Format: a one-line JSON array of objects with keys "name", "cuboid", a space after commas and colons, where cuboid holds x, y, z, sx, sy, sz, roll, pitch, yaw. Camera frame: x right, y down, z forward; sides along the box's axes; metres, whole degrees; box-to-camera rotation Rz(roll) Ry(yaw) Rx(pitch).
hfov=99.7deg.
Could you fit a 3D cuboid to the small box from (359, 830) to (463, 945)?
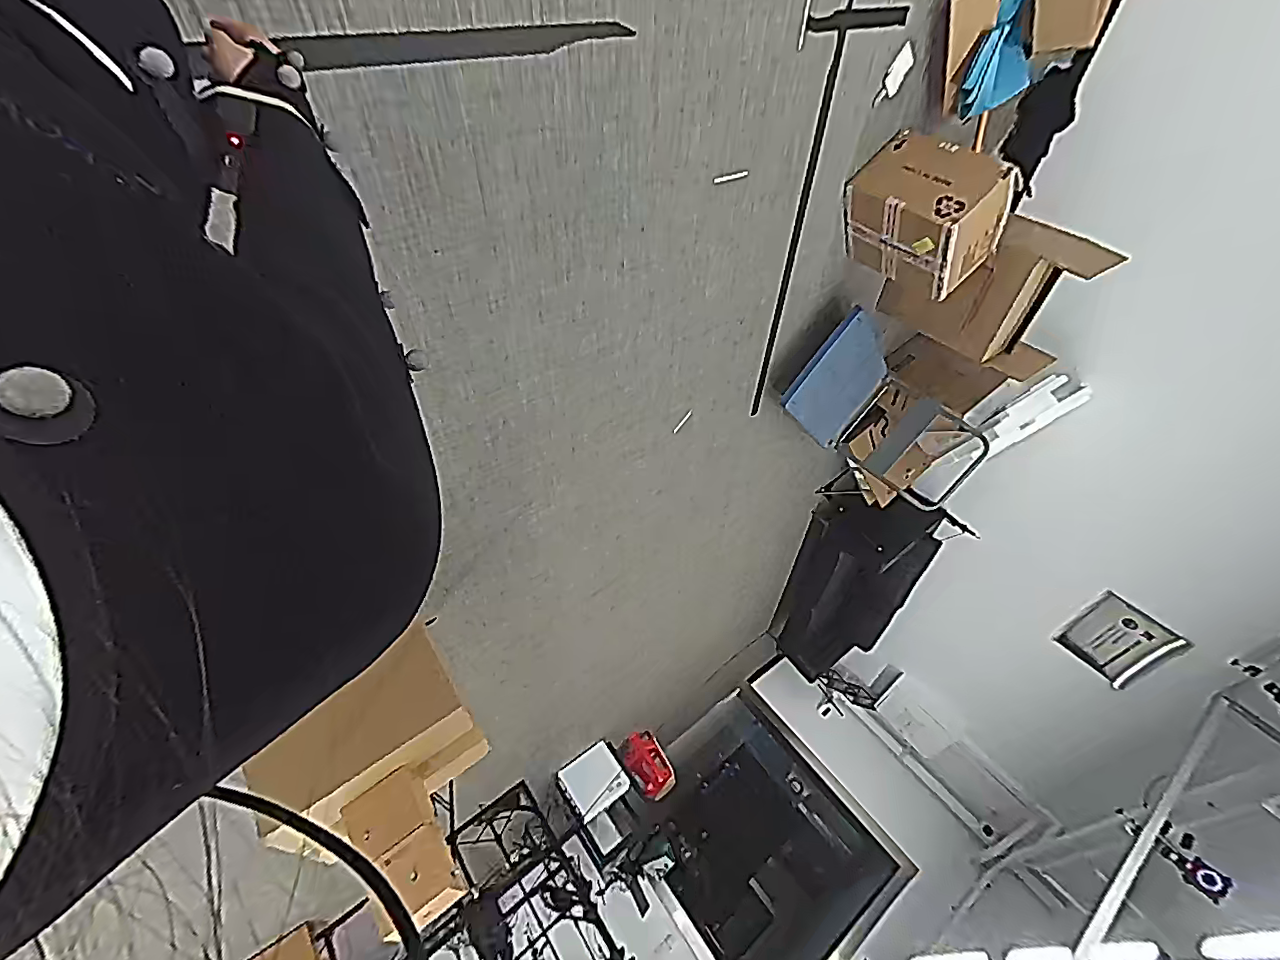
[{"name": "small box", "cuboid": [-0.582, 1.029, 1.374, 0.168, 0.176, 0.179, -31, 146, -23]}]
